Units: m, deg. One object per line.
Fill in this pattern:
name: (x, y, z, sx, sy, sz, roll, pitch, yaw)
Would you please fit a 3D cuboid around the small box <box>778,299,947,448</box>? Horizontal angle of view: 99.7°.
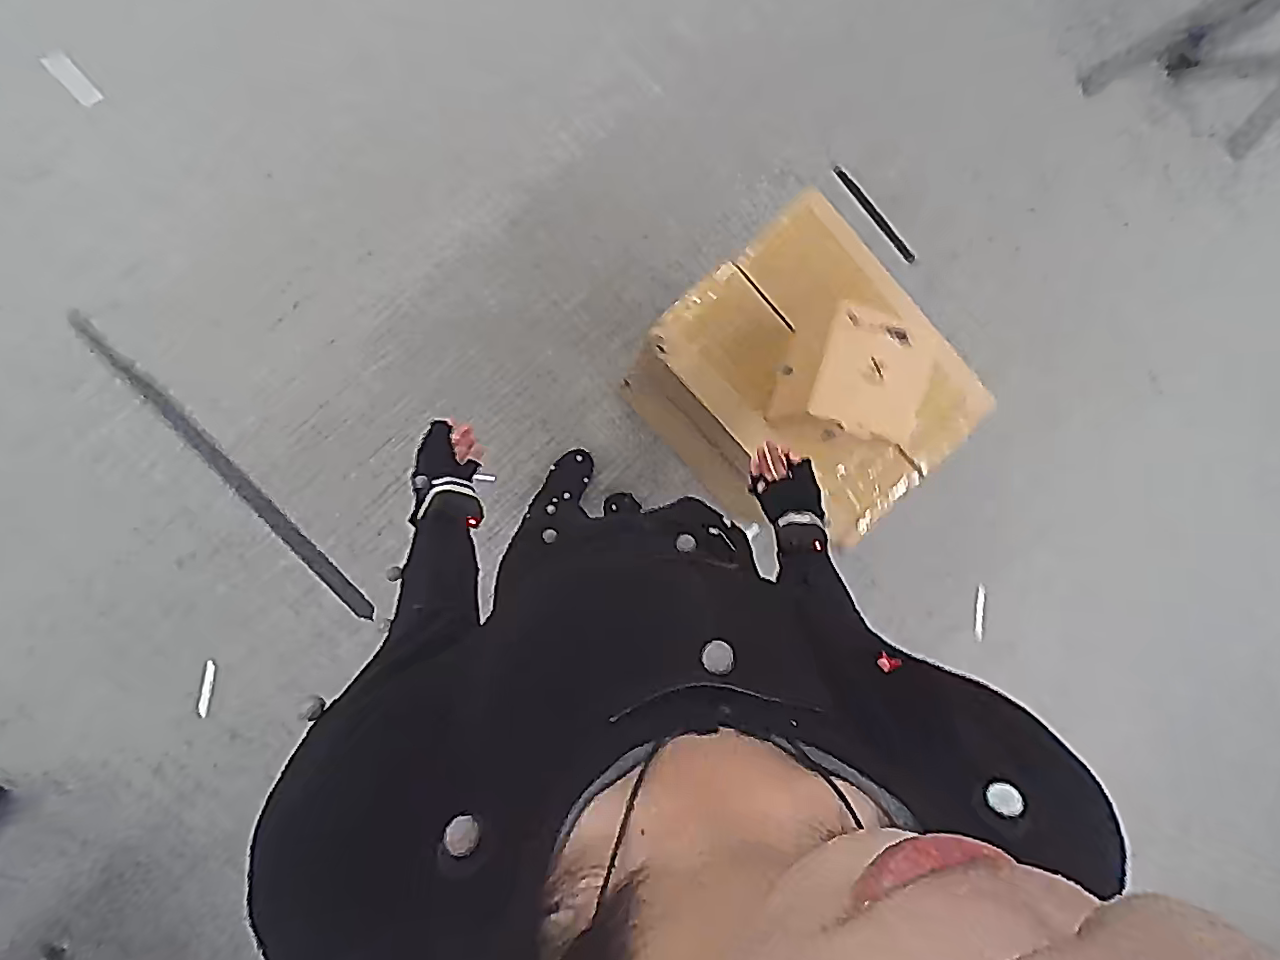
small box: (0.338, -0.157, 0.859, 0.168, 0.176, 0.179, 18, 90, -6)
